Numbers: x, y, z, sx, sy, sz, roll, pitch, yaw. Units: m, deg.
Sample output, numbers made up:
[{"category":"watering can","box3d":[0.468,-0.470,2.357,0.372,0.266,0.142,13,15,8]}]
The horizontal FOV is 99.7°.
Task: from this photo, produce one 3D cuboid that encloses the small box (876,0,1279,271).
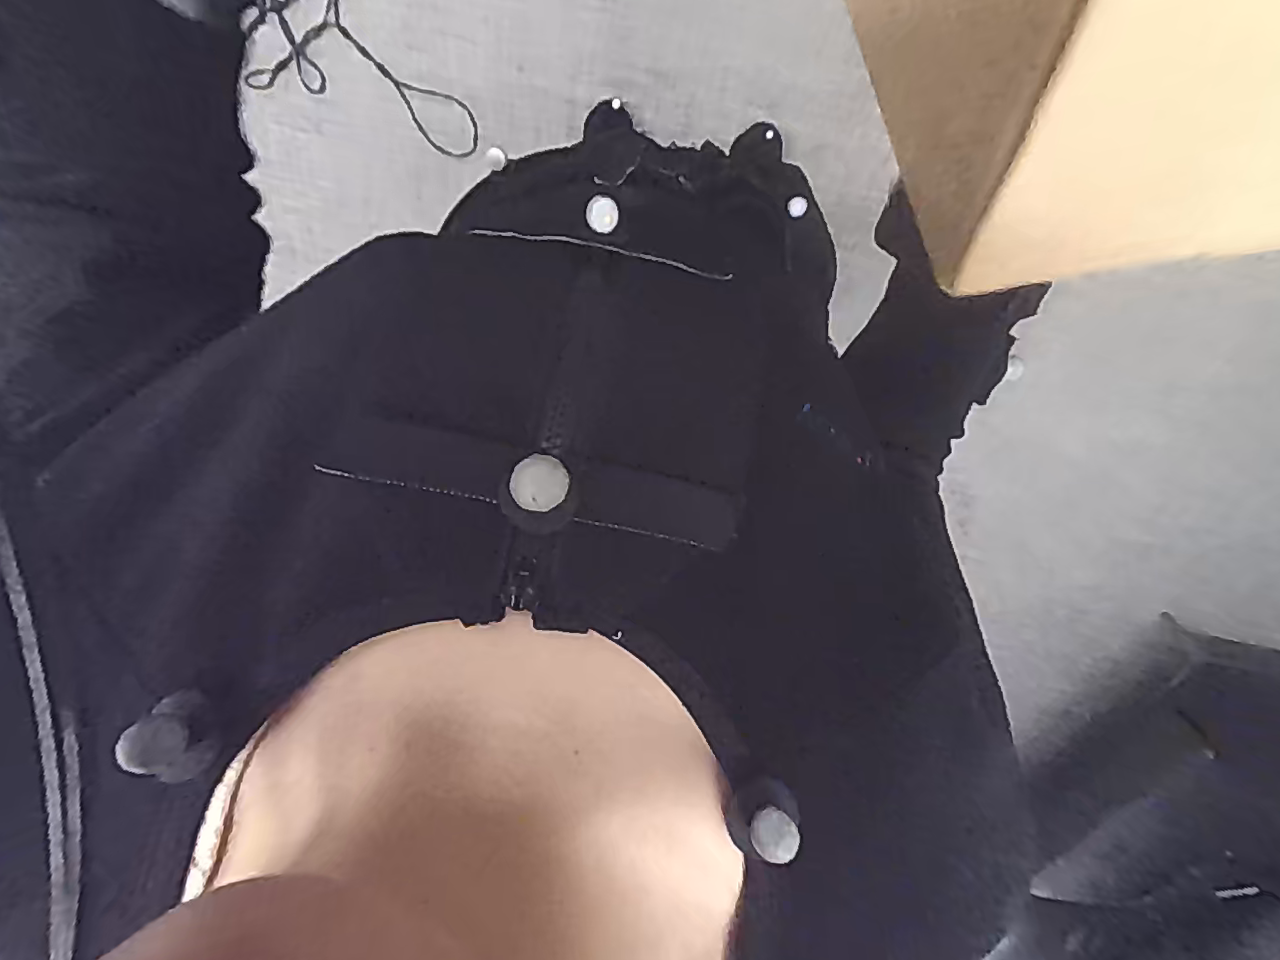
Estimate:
[{"category":"small box","box3d":[0.142,-0.172,0.087,0.168,0.176,0.179,-9,157,10]}]
